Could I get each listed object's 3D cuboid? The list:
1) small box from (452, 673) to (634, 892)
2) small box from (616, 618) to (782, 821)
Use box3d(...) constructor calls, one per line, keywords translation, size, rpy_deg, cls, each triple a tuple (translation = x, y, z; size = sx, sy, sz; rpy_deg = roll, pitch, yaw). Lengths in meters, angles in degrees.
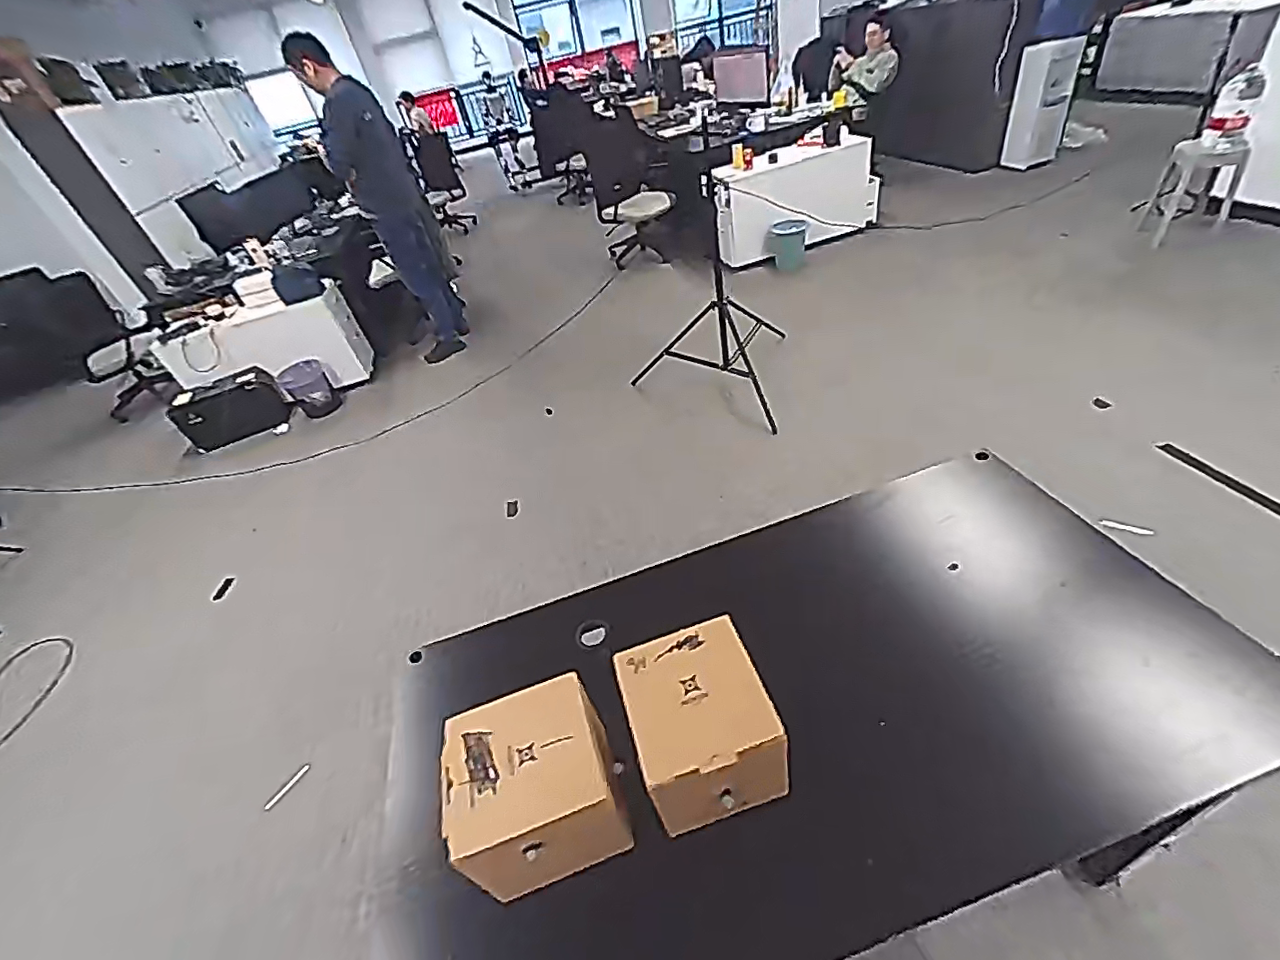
box3d(translation=(-0.124, 0.390, 0.697), size=(0.179, 0.176, 0.168), rpy_deg=(-19, 40, -7), cls="small box")
box3d(translation=(0.079, 0.321, 0.716), size=(0.168, 0.176, 0.179), rpy_deg=(-17, 41, -5), cls="small box")
